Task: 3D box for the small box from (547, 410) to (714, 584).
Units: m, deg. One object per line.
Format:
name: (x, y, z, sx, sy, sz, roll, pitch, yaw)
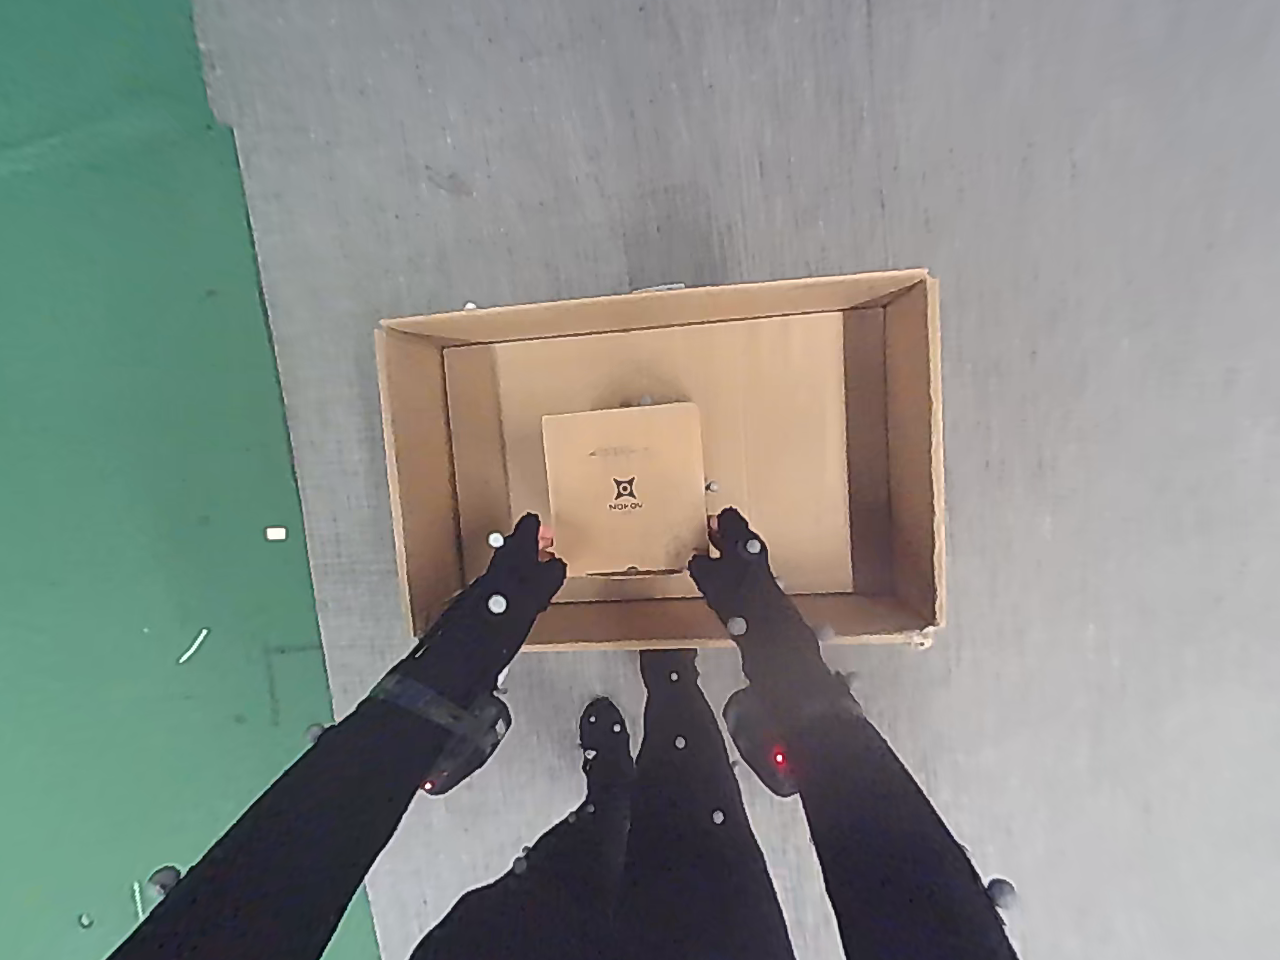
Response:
small box: (0.000, 0.013, 0.643, 0.168, 0.176, 0.179, -5, 94, 8)
